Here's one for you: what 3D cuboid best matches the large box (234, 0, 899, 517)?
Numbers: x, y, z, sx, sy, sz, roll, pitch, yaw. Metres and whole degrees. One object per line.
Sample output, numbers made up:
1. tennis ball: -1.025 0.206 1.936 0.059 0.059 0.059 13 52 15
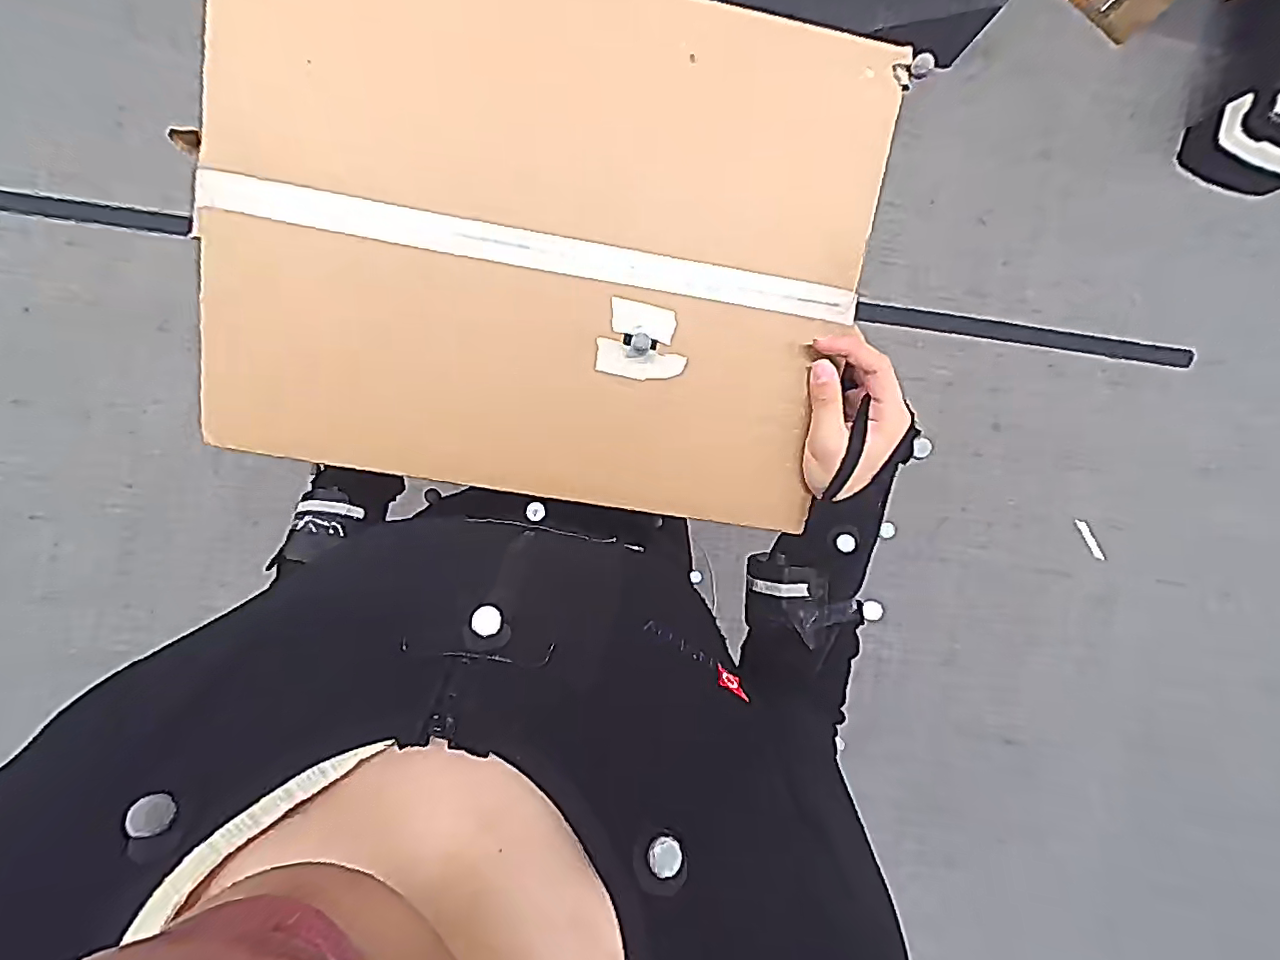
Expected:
1. large box: -0.063 -0.172 0.496 0.408 0.320 0.320 8 101 -6
